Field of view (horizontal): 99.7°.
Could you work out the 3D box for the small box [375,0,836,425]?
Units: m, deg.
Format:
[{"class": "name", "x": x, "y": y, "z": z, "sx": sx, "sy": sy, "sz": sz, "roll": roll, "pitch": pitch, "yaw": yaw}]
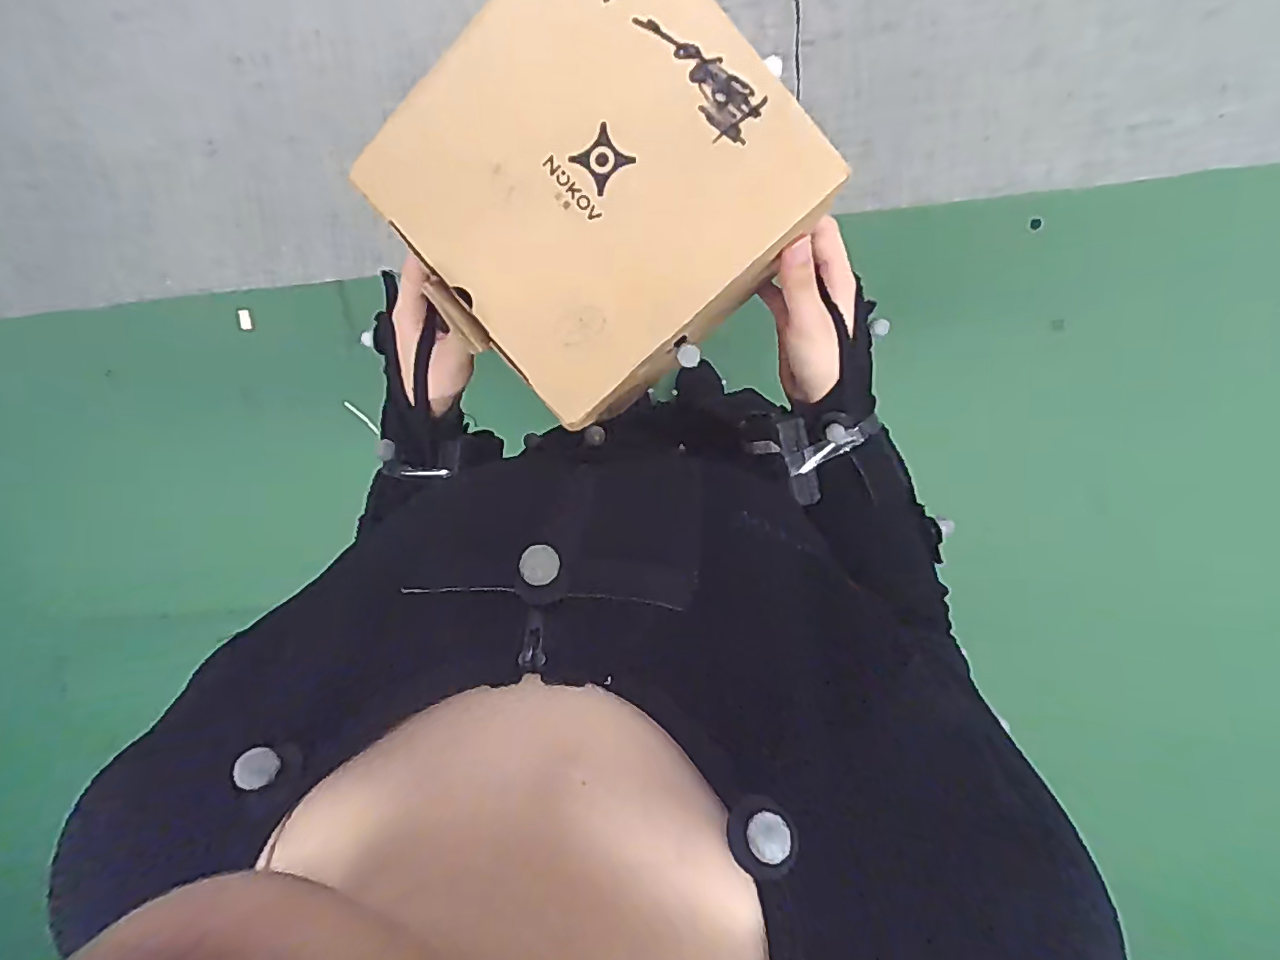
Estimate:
[{"class": "small box", "x": -0.013, "y": -0.154, "z": 0.343, "sx": 0.179, "sy": 0.176, "sz": 0.168, "roll": -41, "pitch": 93, "yaw": 11}]
